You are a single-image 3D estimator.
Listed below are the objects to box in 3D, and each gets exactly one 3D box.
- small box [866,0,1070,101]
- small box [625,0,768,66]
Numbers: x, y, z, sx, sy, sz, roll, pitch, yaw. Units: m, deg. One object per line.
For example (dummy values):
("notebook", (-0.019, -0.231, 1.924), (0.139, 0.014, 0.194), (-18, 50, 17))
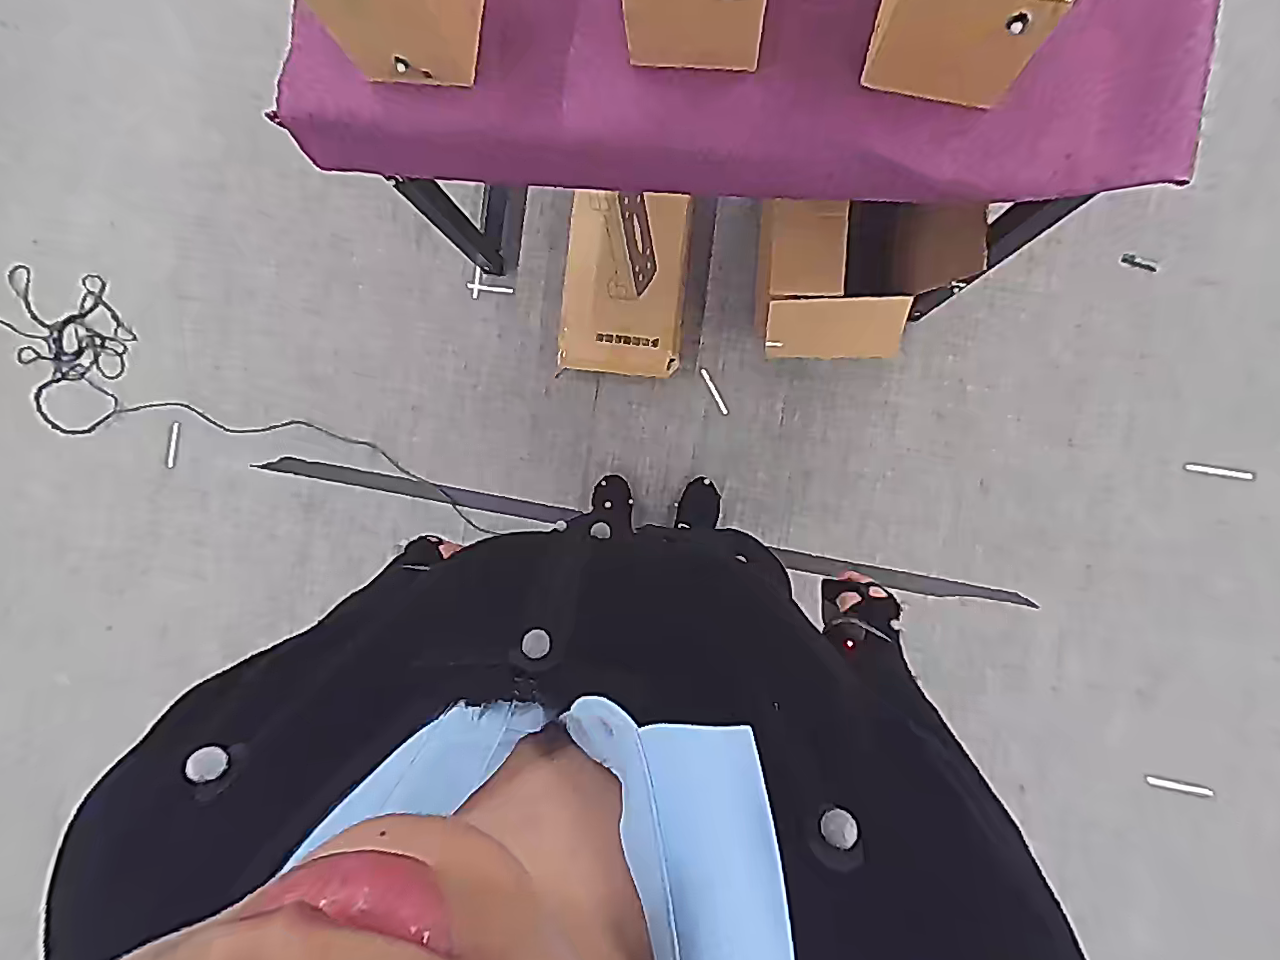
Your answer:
("small box", (0.388, -0.586, 0.631), (0.179, 0.176, 0.168), (14, 92, 5))
("small box", (0.077, -0.649, 0.660), (0.179, 0.176, 0.168), (7, 89, 5))
